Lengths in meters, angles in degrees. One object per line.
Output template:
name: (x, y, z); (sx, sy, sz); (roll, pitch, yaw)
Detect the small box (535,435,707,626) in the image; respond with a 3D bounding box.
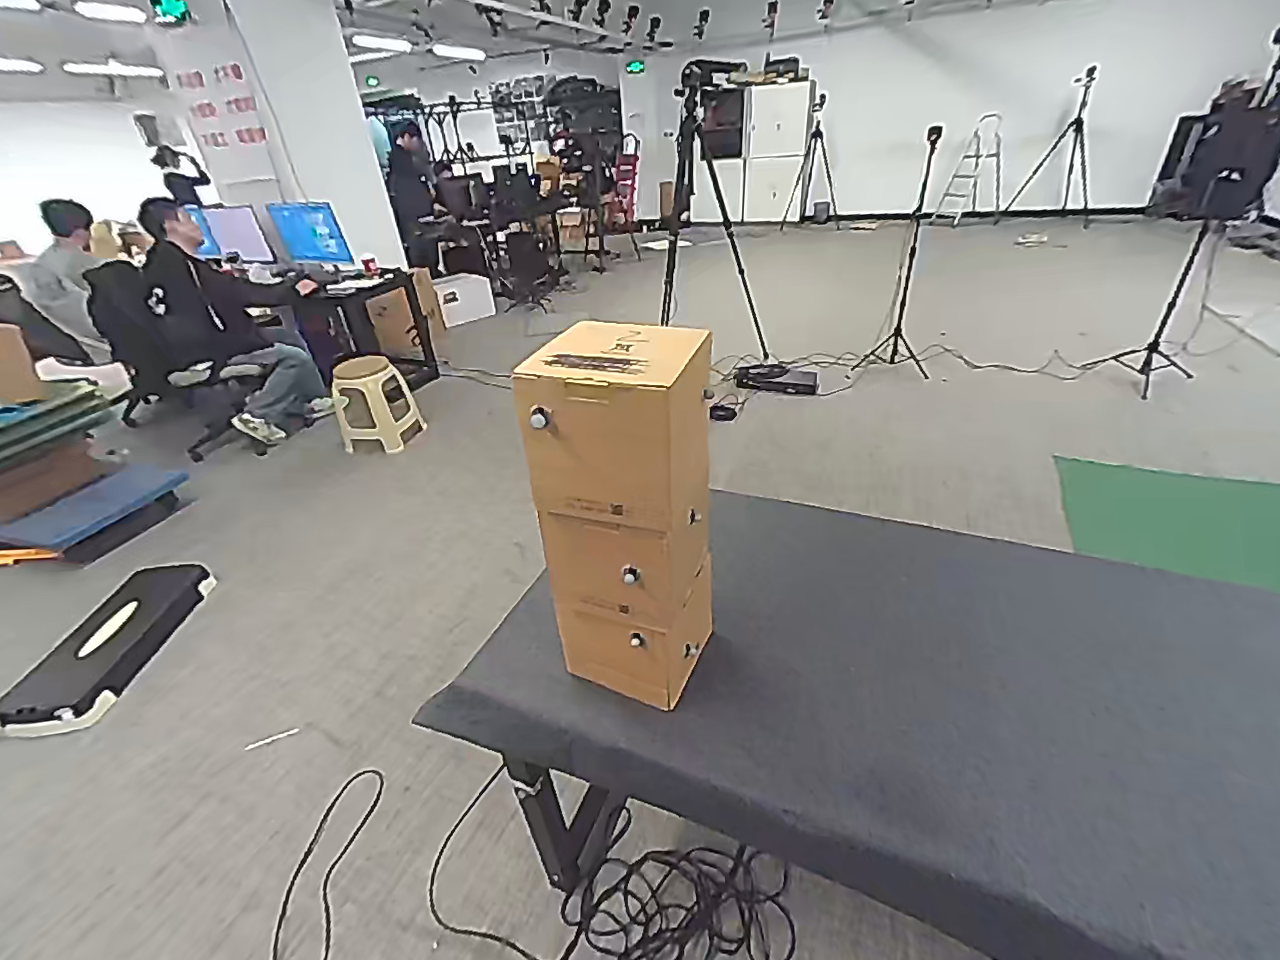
small box: (-0.014, 0.062, 0.710); (0.168, 0.176, 0.179); (11, 34, 18)

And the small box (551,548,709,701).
small box: (-0.007, 0.194, 0.804); (0.179, 0.176, 0.168); (13, 36, 24)
